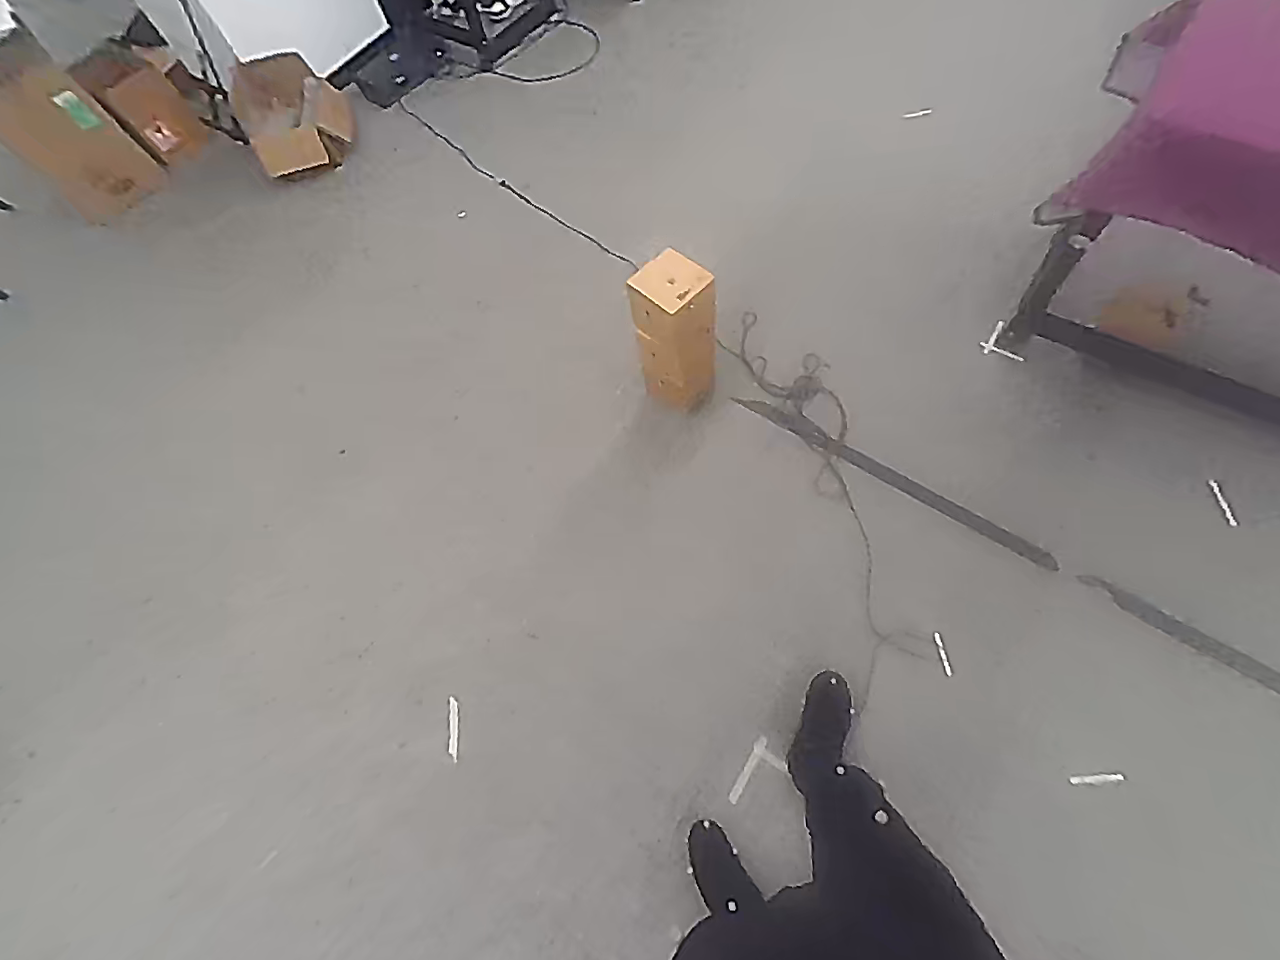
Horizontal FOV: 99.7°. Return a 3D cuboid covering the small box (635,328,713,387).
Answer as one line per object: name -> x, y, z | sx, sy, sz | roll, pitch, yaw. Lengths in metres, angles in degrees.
small box -> 0.110, -0.414, 1.630 | 0.168, 0.176, 0.179 | 34, 74, 21

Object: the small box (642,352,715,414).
small box -> 0.129, -0.346, 1.776 | 0.179, 0.176, 0.168 | 33, 74, 20

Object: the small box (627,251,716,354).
small box -> 0.090, -0.480, 1.481 | 0.168, 0.176, 0.179 | -43, 66, -12
